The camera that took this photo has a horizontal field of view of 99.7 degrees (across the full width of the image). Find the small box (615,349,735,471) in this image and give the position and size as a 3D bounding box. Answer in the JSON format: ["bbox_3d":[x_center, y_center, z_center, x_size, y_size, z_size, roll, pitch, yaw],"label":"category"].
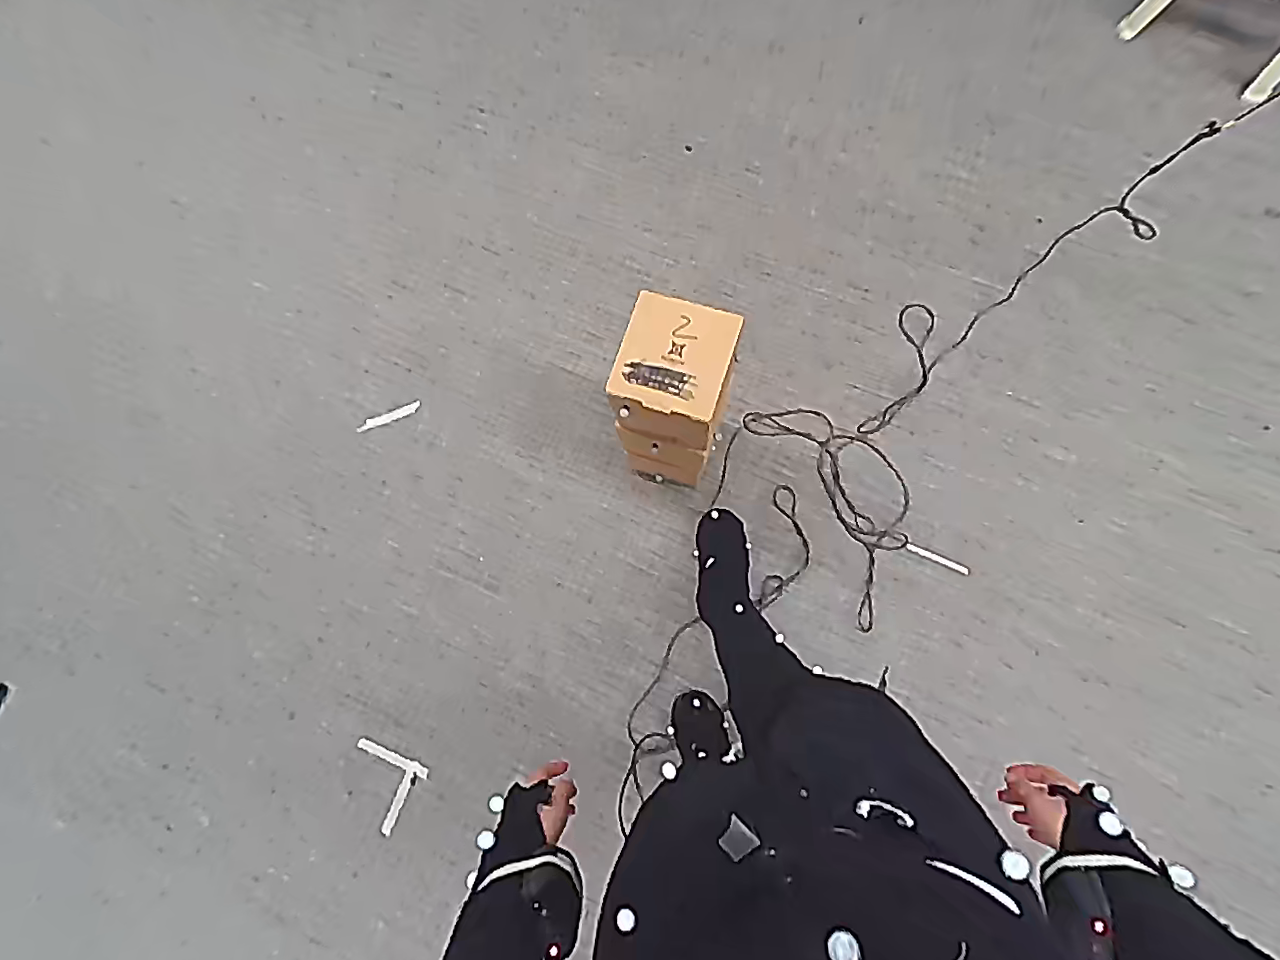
[{"bbox_3d":[0.070,-0.125,1.041,0.179,0.176,0.168,18,82,9],"label":"small box"}]

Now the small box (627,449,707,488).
[{"bbox_3d":[0.080,-0.095,1.200,0.168,0.176,0.179,16,82,8],"label":"small box"}]
